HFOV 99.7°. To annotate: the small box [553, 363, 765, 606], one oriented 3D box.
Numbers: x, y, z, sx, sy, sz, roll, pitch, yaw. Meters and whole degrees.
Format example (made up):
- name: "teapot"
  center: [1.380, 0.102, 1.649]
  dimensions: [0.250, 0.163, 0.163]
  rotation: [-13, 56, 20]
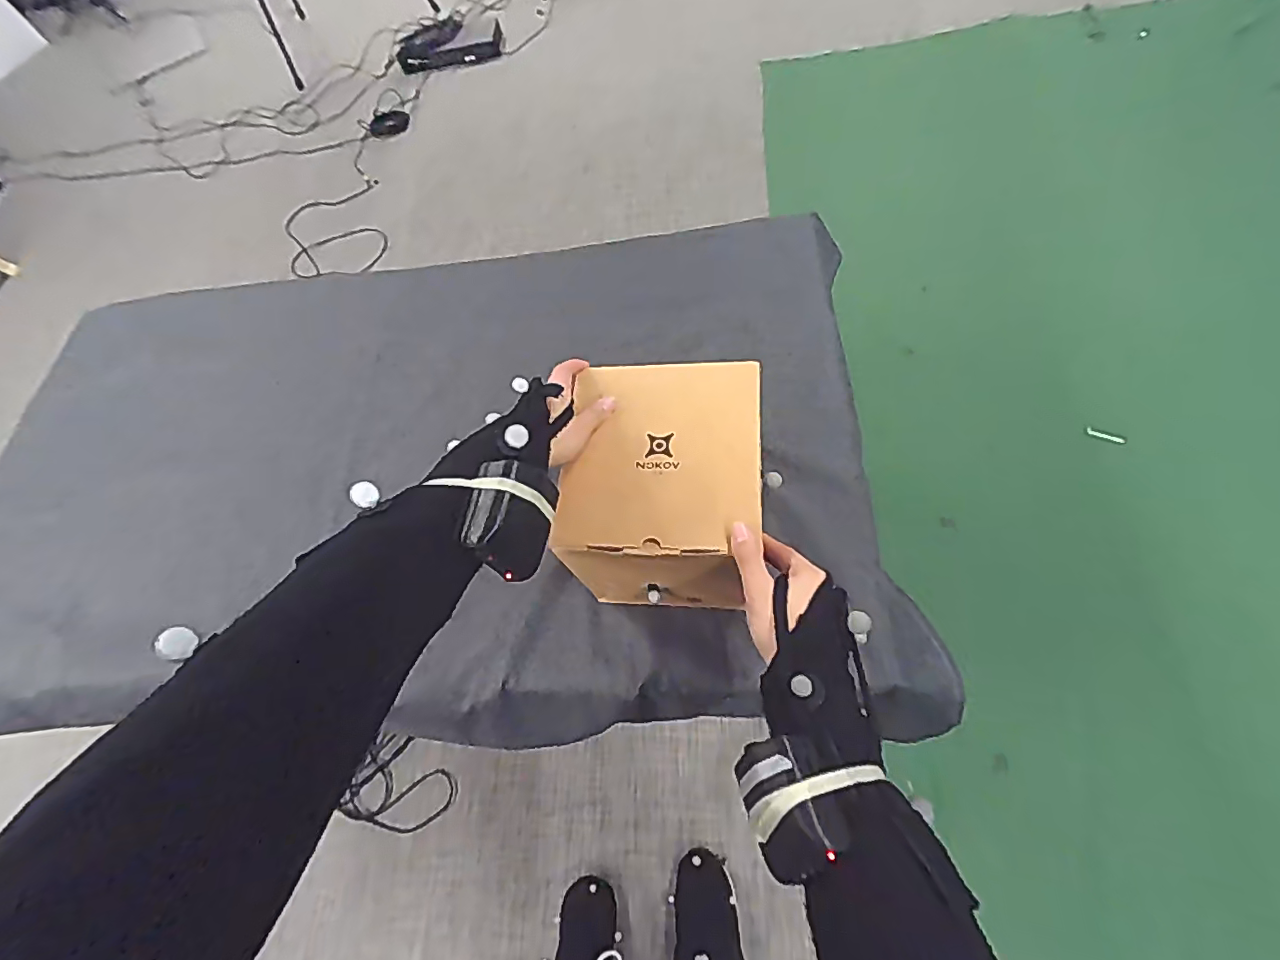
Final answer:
- name: "small box"
  center: [0.031, 0.010, 0.515]
  dimensions: [0.168, 0.176, 0.179]
  rotation: [0, 64, 11]
